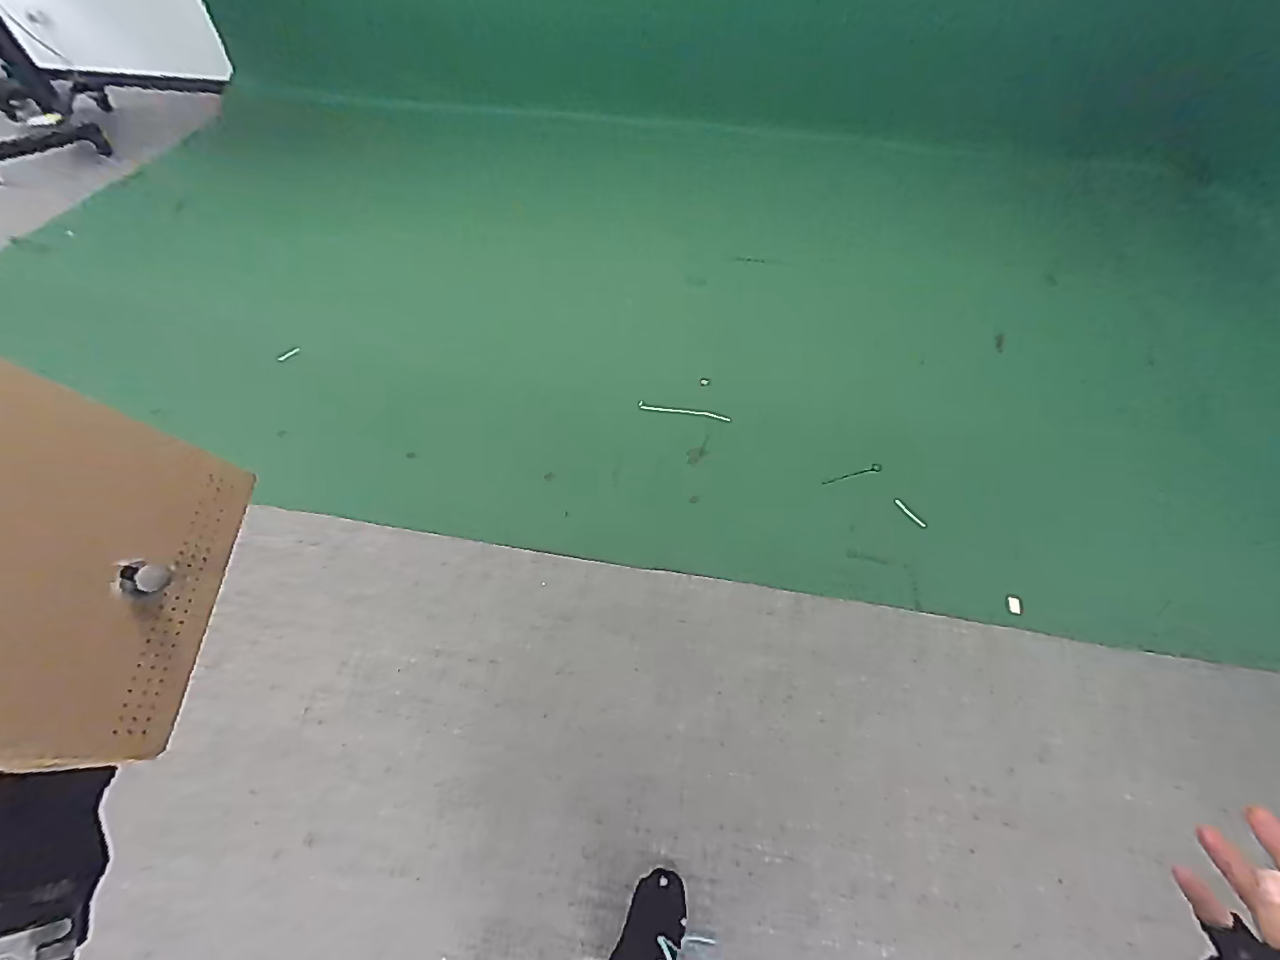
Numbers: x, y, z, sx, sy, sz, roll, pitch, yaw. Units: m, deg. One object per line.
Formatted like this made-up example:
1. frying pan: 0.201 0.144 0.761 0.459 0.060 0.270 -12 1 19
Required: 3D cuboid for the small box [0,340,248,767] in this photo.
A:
1. small box: -0.353 0.048 0.280 0.168 0.176 0.179 -13 61 18
